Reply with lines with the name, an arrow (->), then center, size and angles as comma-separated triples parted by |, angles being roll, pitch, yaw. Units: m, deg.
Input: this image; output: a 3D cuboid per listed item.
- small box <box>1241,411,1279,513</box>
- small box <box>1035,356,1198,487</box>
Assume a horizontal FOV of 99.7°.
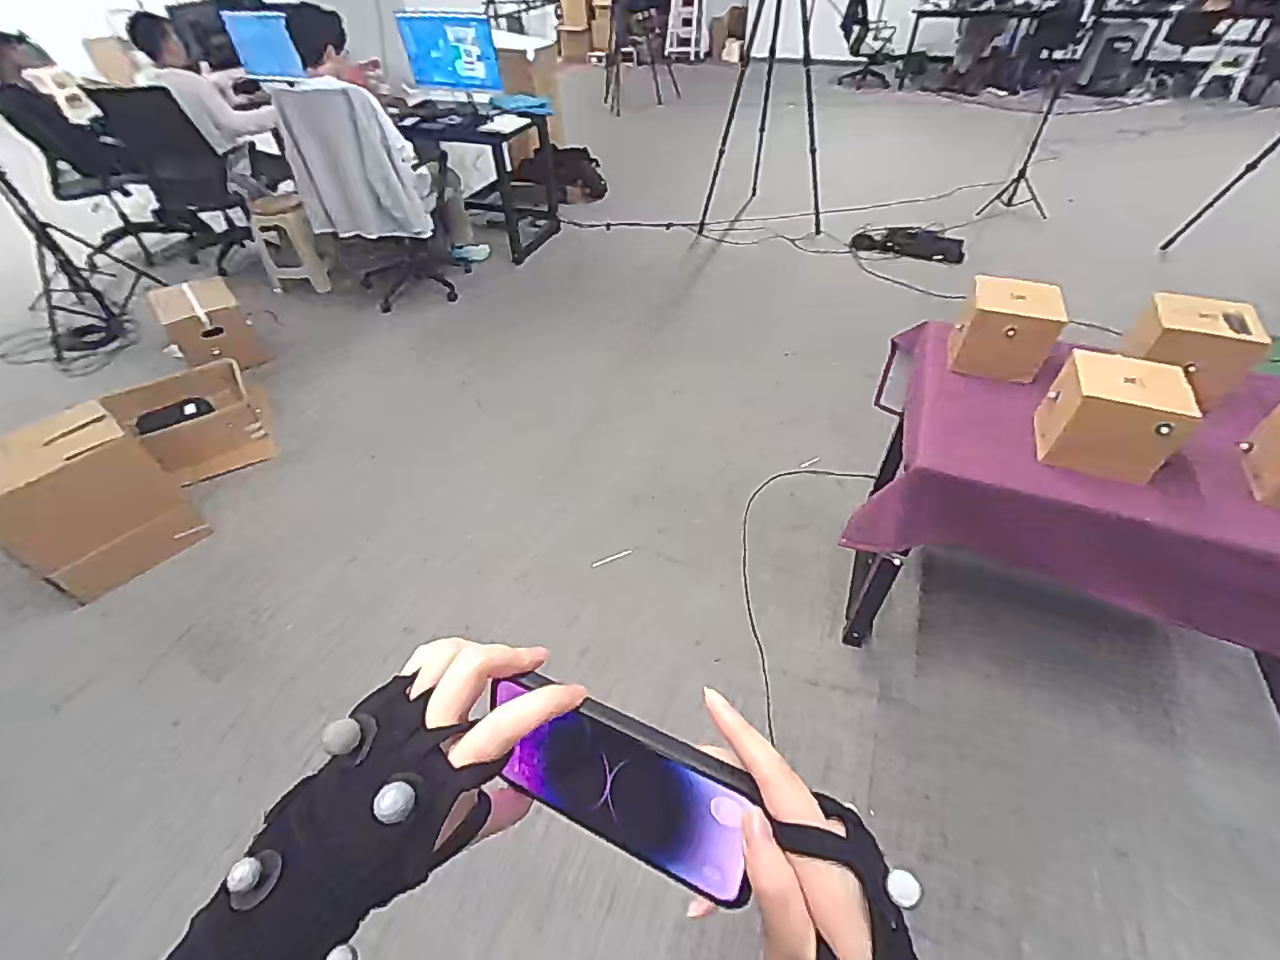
small box -> 1.221, -0.030, 0.943 | 0.179, 0.176, 0.168 | 19, 49, 18
small box -> 0.890, -0.110, 1.037 | 0.179, 0.176, 0.168 | 17, 48, 17
